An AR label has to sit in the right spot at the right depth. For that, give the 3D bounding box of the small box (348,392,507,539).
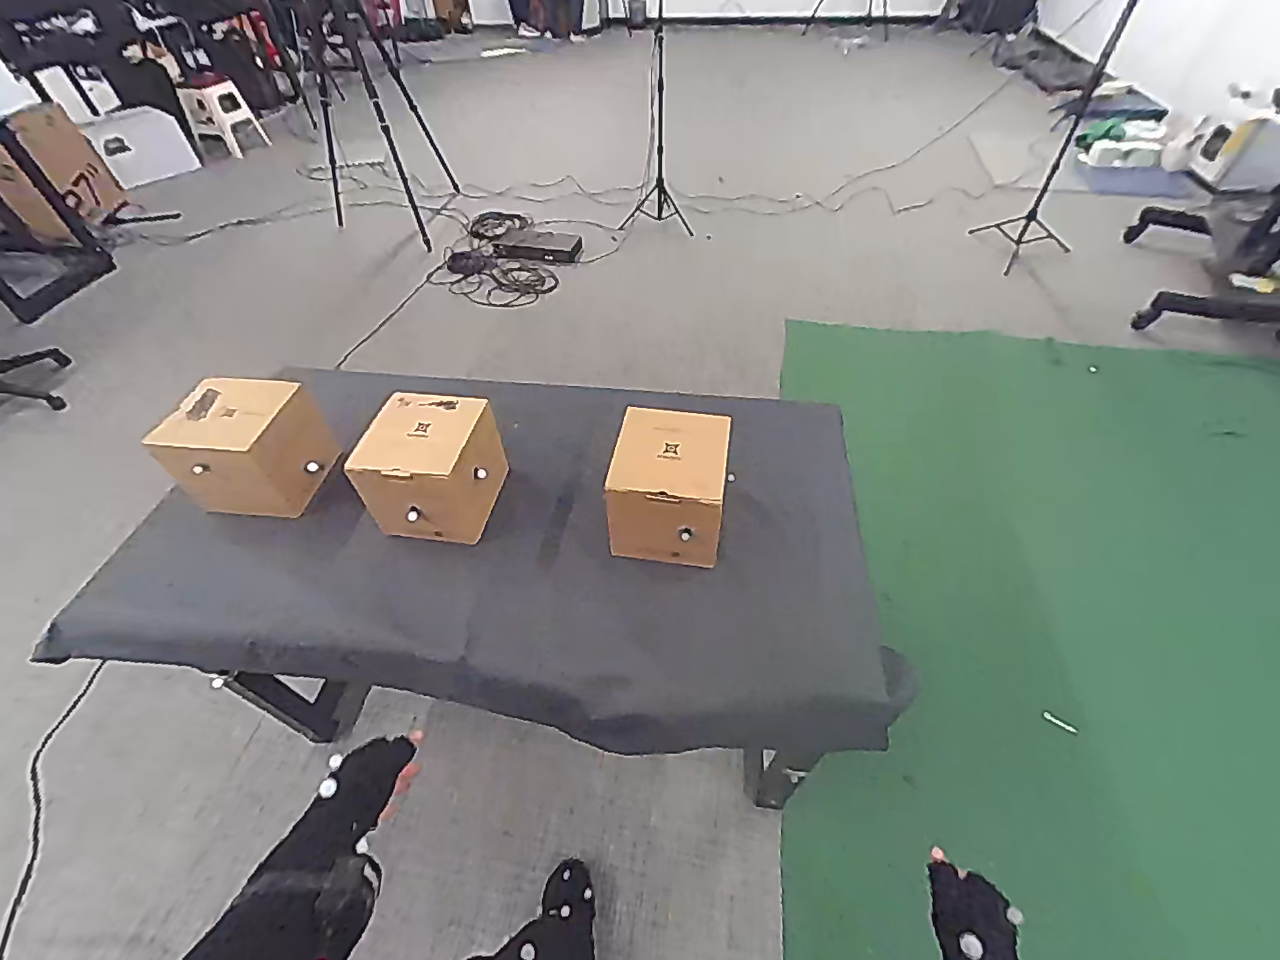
[{"bbox_3d":[-0.332,-0.021,0.891,0.168,0.176,0.179,6,49,6],"label":"small box"}]

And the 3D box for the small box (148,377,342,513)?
[{"bbox_3d":[-0.660,-0.058,0.930,0.179,0.176,0.168,4,49,4],"label":"small box"}]

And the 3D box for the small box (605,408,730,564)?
[{"bbox_3d":[0.047,0.012,0.853,0.168,0.176,0.179,7,48,7],"label":"small box"}]
